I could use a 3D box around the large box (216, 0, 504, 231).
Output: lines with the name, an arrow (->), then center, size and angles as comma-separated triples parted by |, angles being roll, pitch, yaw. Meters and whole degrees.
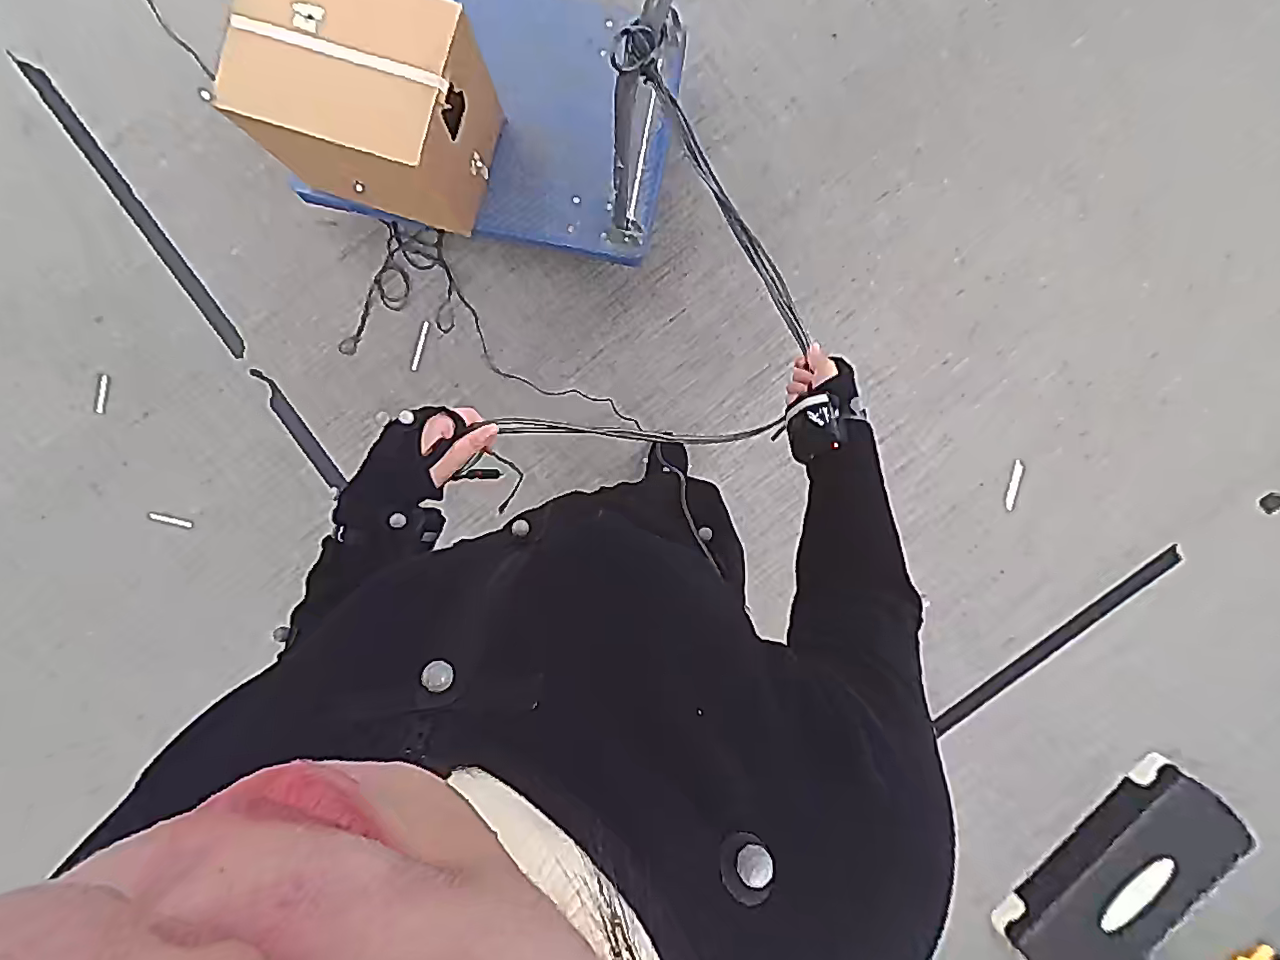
large box -> -0.547, -0.779, 1.136 | 0.408, 0.320, 0.320 | 17, 91, 0
